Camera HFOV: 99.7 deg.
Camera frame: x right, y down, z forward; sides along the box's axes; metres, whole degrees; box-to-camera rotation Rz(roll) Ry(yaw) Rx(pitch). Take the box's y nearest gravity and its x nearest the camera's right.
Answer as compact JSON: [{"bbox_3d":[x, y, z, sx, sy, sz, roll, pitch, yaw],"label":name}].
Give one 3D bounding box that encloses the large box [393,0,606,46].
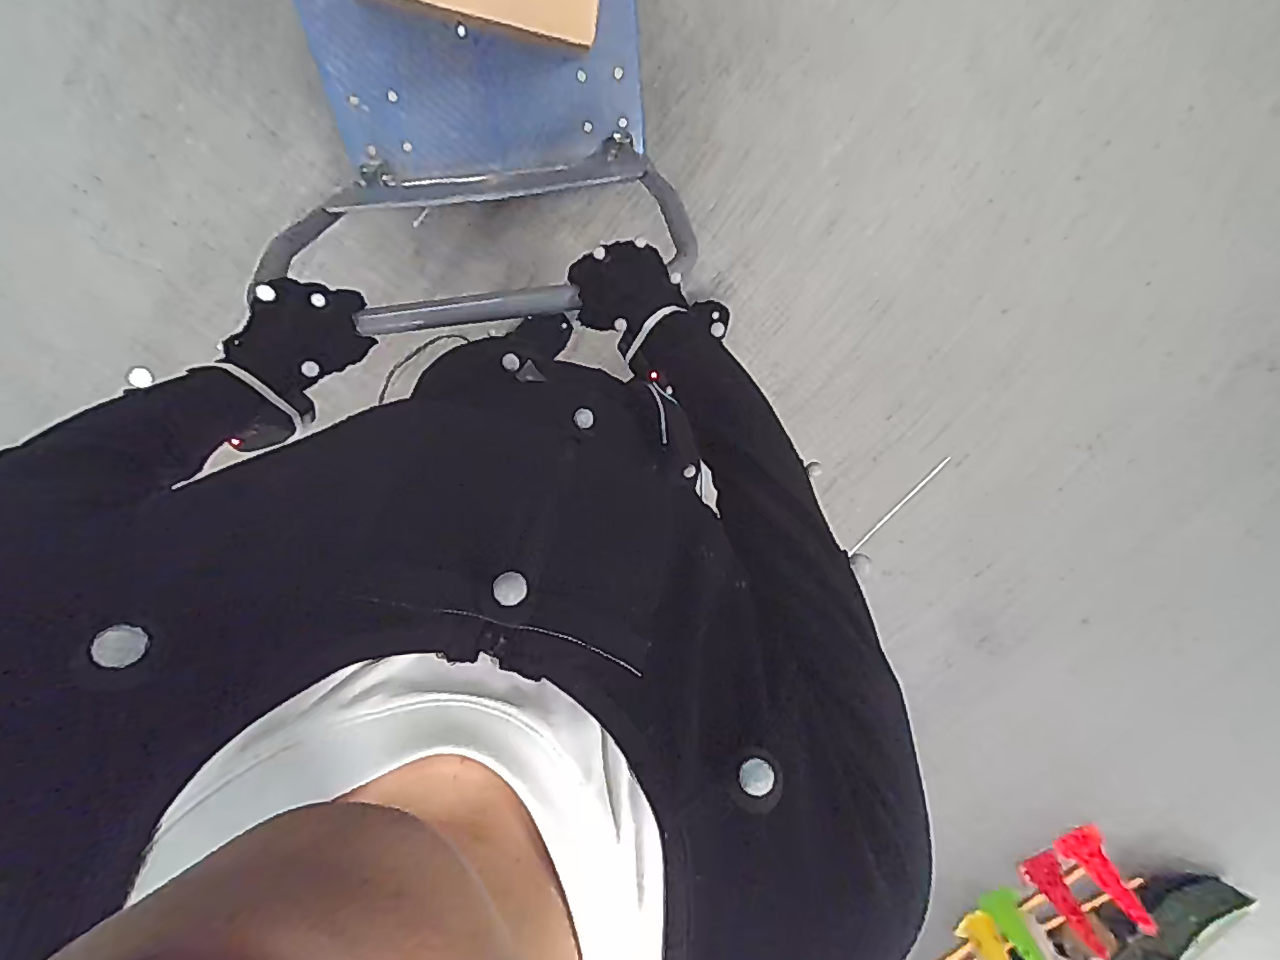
[{"bbox_3d":[-0.235,-0.841,0.750,0.408,0.320,0.320,6,125,-11],"label":"large box"}]
